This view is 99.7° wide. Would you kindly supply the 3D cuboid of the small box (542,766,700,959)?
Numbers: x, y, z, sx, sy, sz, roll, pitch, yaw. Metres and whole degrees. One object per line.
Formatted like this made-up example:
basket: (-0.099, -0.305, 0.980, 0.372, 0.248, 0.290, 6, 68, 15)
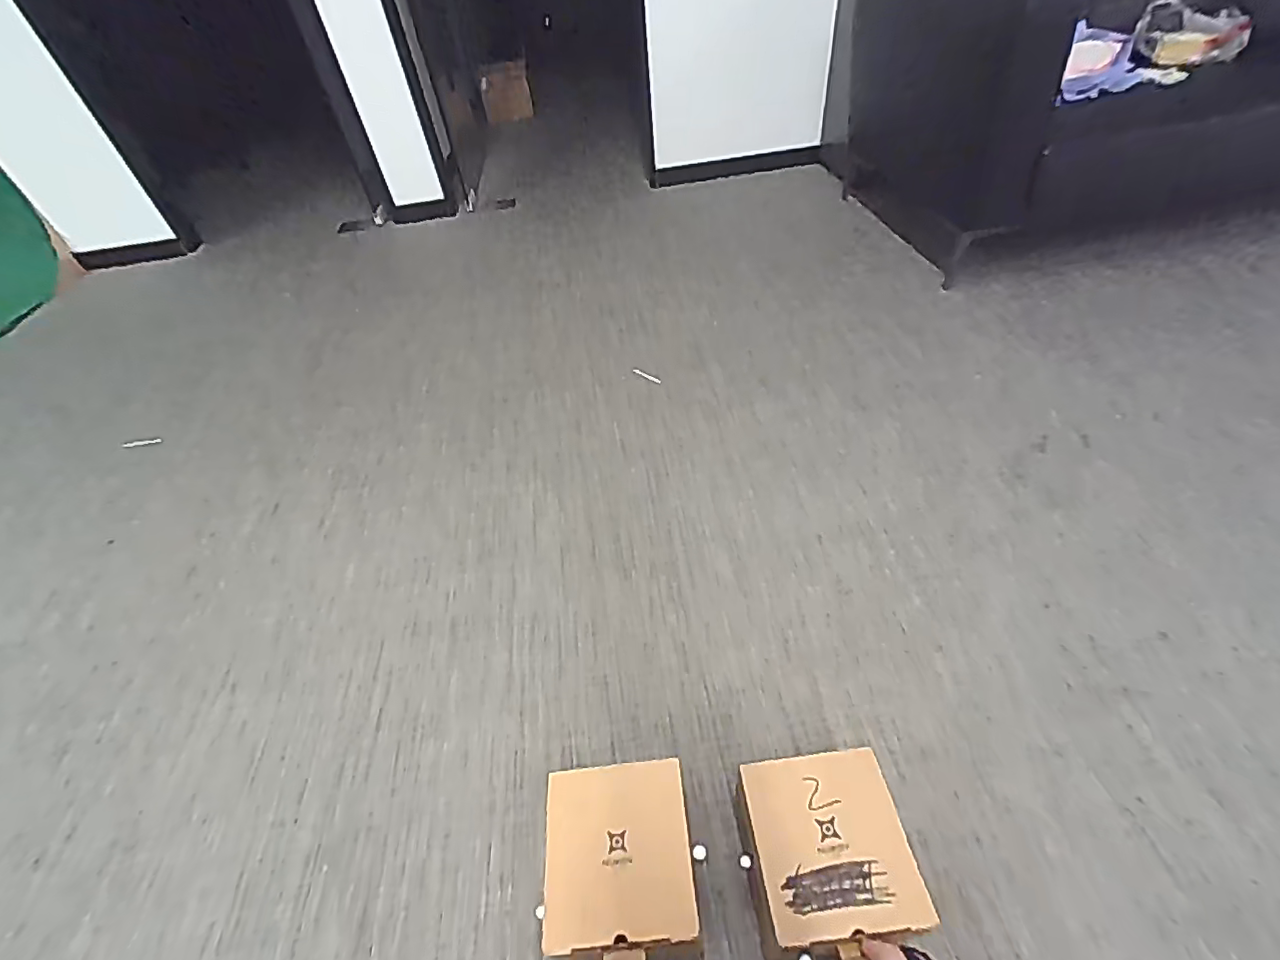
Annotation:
small box: (-0.019, 0.481, 0.671, 0.168, 0.176, 0.179, -7, 46, 1)
